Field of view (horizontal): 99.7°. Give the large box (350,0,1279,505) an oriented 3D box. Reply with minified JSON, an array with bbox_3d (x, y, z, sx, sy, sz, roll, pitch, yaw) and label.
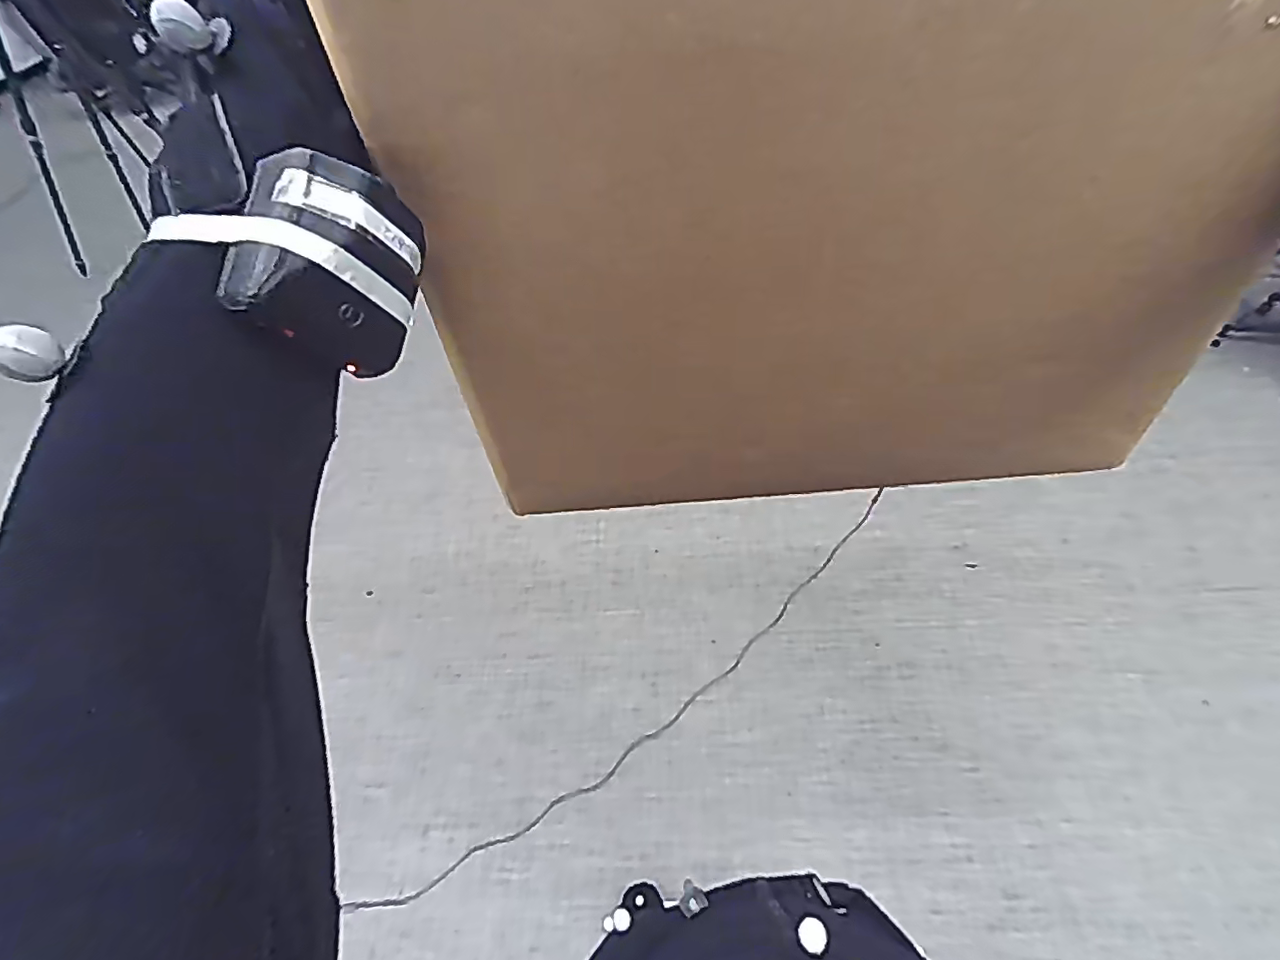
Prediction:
[{"bbox_3d":[0.092,-0.207,0.375,0.408,0.320,0.320,-5,44,2],"label":"large box"}]
